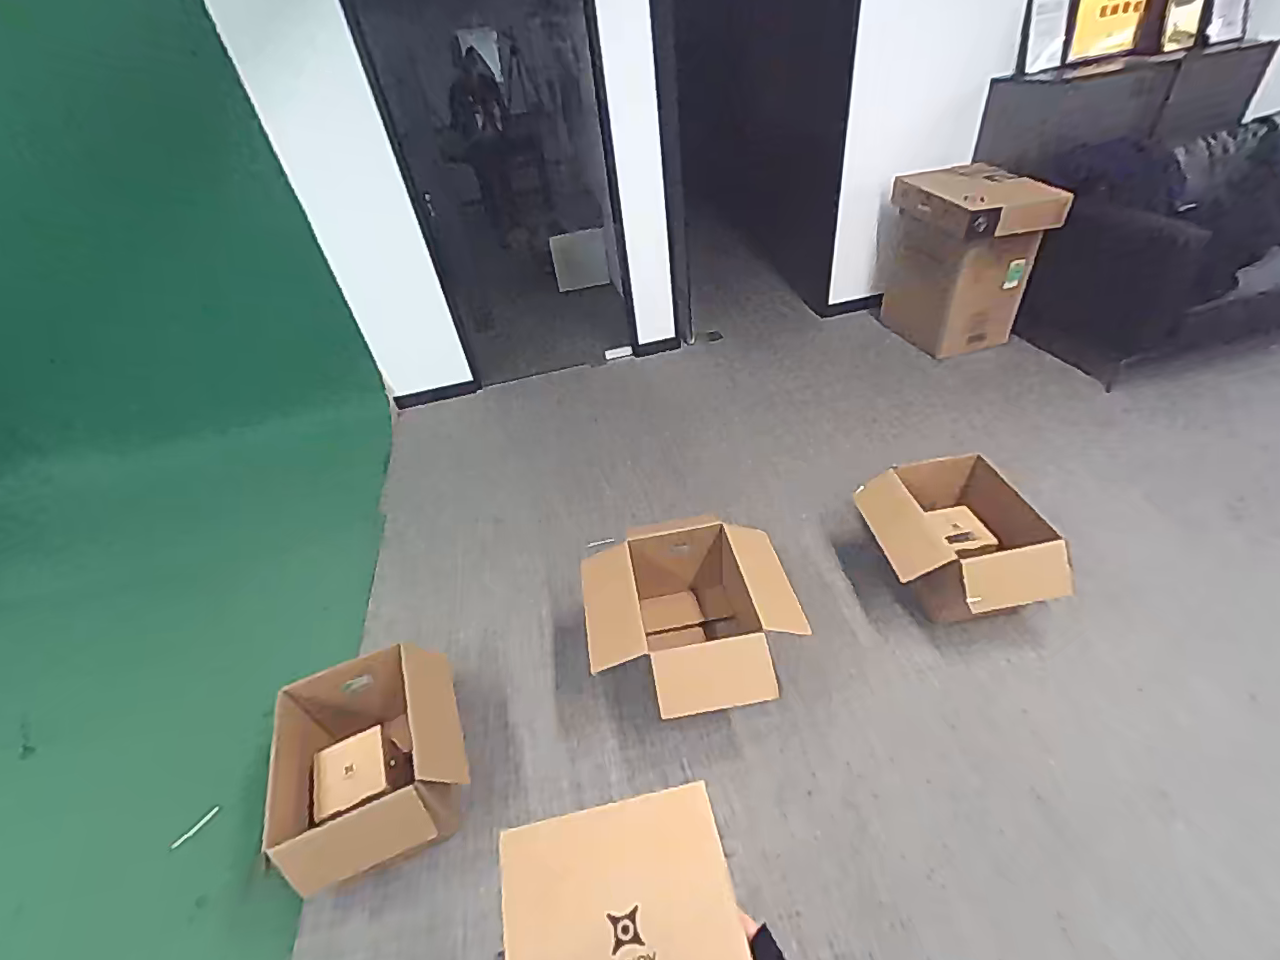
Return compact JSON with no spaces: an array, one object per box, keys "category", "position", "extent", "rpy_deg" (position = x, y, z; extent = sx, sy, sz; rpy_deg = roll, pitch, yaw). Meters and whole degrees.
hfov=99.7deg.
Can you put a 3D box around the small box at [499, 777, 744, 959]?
[{"category":"small box","position":[-0.015,0.368,0.435],"extent":[0.168,0.176,0.179],"rpy_deg":[-9,51,-7]}]
